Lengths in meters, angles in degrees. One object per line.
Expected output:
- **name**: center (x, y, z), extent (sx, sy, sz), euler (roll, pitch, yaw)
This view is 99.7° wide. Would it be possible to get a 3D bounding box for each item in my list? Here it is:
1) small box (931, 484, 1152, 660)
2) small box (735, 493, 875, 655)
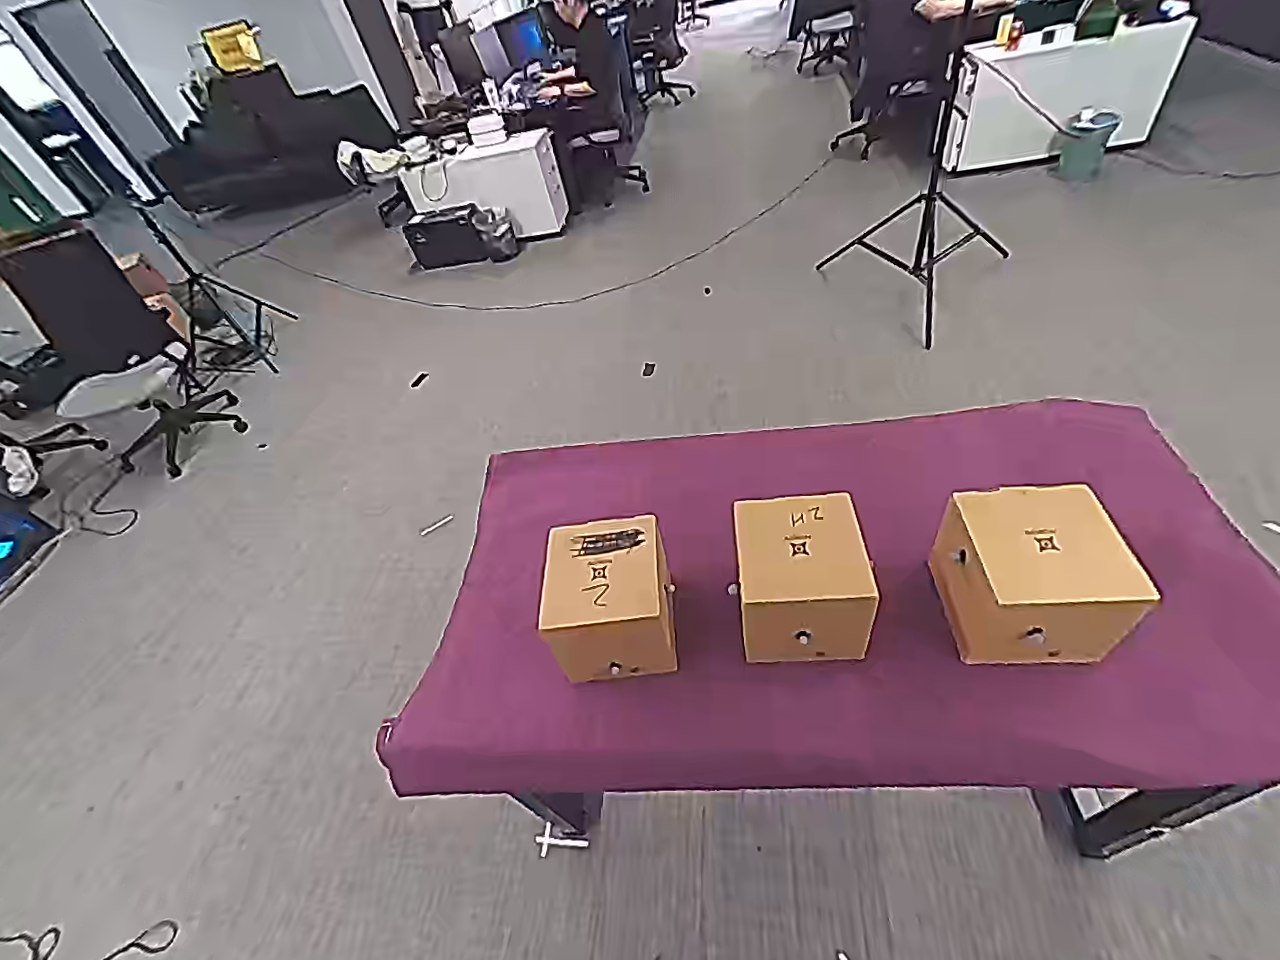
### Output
- **small box**: center (0.515, 0.130, 0.728), extent (0.168, 0.176, 0.179), euler (-4, 46, 11)
- **small box**: center (0.230, 0.142, 0.788), extent (0.168, 0.176, 0.179), euler (-4, 45, 9)
